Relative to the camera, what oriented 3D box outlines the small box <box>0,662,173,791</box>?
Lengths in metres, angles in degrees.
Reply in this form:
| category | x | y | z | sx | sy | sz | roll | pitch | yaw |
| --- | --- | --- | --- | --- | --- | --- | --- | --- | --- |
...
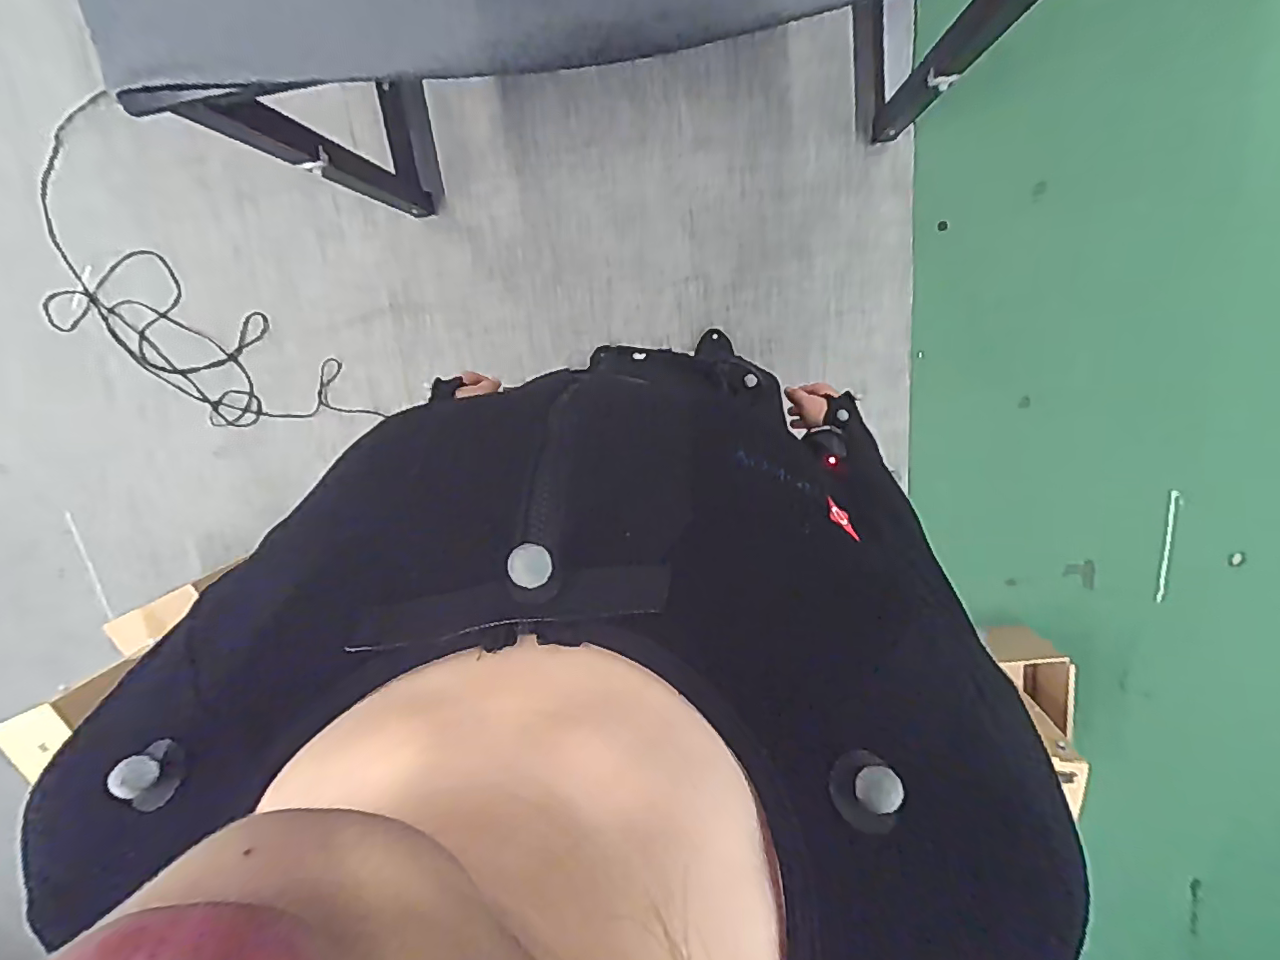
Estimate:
| category | x | y | z | sx | sy | sz | roll | pitch | yaw |
| --- | --- | --- | --- | --- | --- | --- | --- | --- | --- |
| small box | -1.193 | 0.523 | 1.178 | 0.168 | 0.176 | 0.179 | -23 | 102 | 9 |

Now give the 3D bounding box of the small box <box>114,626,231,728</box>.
| category | x | y | z | sx | sy | sz | roll | pitch | yaw |
| --- | --- | --- | --- | --- | --- | --- | --- | --- | --- |
| small box | -1.177 | 0.495 | 1.337 | 0.168 | 0.176 | 0.179 | -23 | 101 | 9 |
